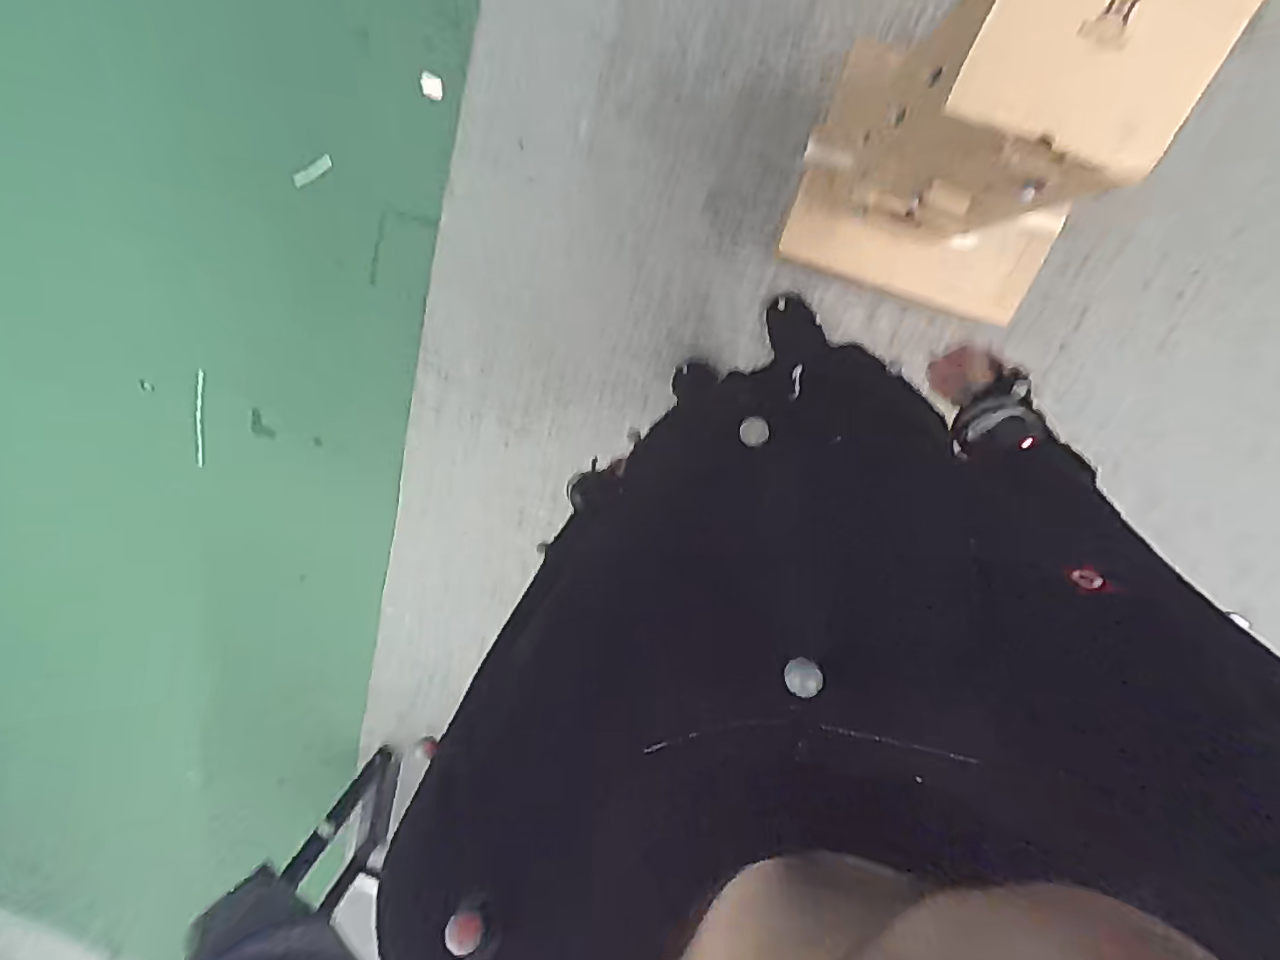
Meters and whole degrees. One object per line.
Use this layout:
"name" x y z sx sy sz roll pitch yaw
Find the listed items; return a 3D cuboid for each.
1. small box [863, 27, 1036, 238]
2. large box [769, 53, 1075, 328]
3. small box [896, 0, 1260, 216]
"small box" 0.380 -0.399 0.612 0.168 0.176 0.179 25 110 1
"large box" 0.487 -0.496 0.994 0.408 0.320 0.320 19 112 3
"small box" 0.345 -0.348 0.460 0.168 0.176 0.179 22 110 1
